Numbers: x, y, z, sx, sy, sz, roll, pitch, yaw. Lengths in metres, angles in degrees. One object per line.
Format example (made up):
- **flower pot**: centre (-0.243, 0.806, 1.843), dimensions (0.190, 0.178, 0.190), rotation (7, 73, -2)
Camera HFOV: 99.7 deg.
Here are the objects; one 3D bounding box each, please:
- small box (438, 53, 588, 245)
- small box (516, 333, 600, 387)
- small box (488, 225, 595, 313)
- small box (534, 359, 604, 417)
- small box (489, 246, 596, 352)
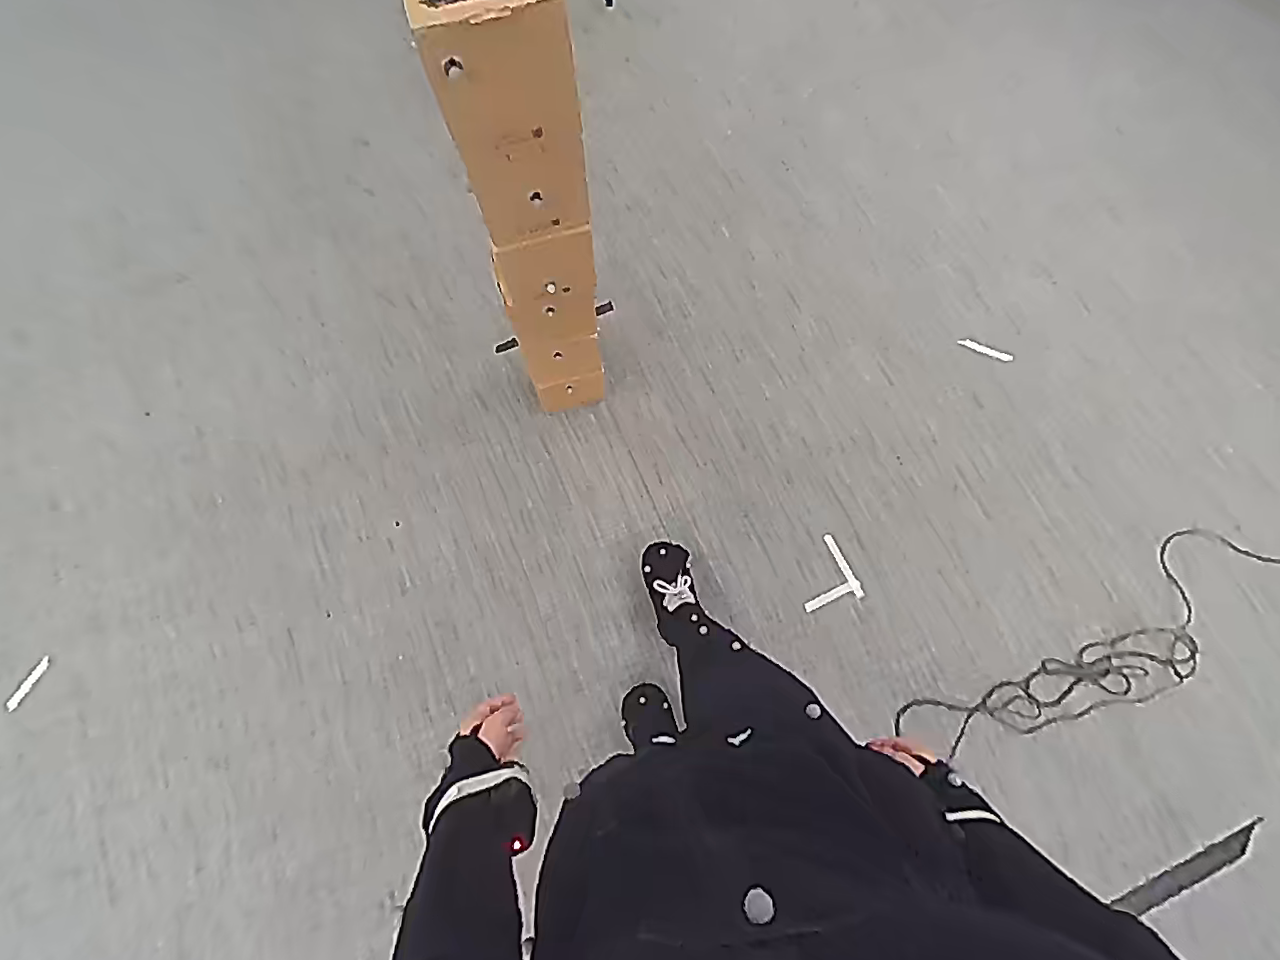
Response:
- **small box**: centre (-0.182, -0.485, 0.820), dimensions (0.168, 0.176, 0.179), rotation (-17, 77, -6)
- **small box**: centre (-0.199, -0.339, 1.288), dimensions (0.179, 0.176, 0.168), rotation (-12, 76, -4)
- **small box**: centre (-0.182, -0.434, 0.976), dimensions (0.168, 0.176, 0.179), rotation (-15, 77, -4)
- **small box**: centre (-0.198, -0.288, 1.444), dimensions (0.179, 0.176, 0.168), rotation (-15, 76, -5)
- **small box**: centre (-0.199, -0.389, 1.134), dimensions (0.179, 0.176, 0.168), rotation (-15, 76, -6)
